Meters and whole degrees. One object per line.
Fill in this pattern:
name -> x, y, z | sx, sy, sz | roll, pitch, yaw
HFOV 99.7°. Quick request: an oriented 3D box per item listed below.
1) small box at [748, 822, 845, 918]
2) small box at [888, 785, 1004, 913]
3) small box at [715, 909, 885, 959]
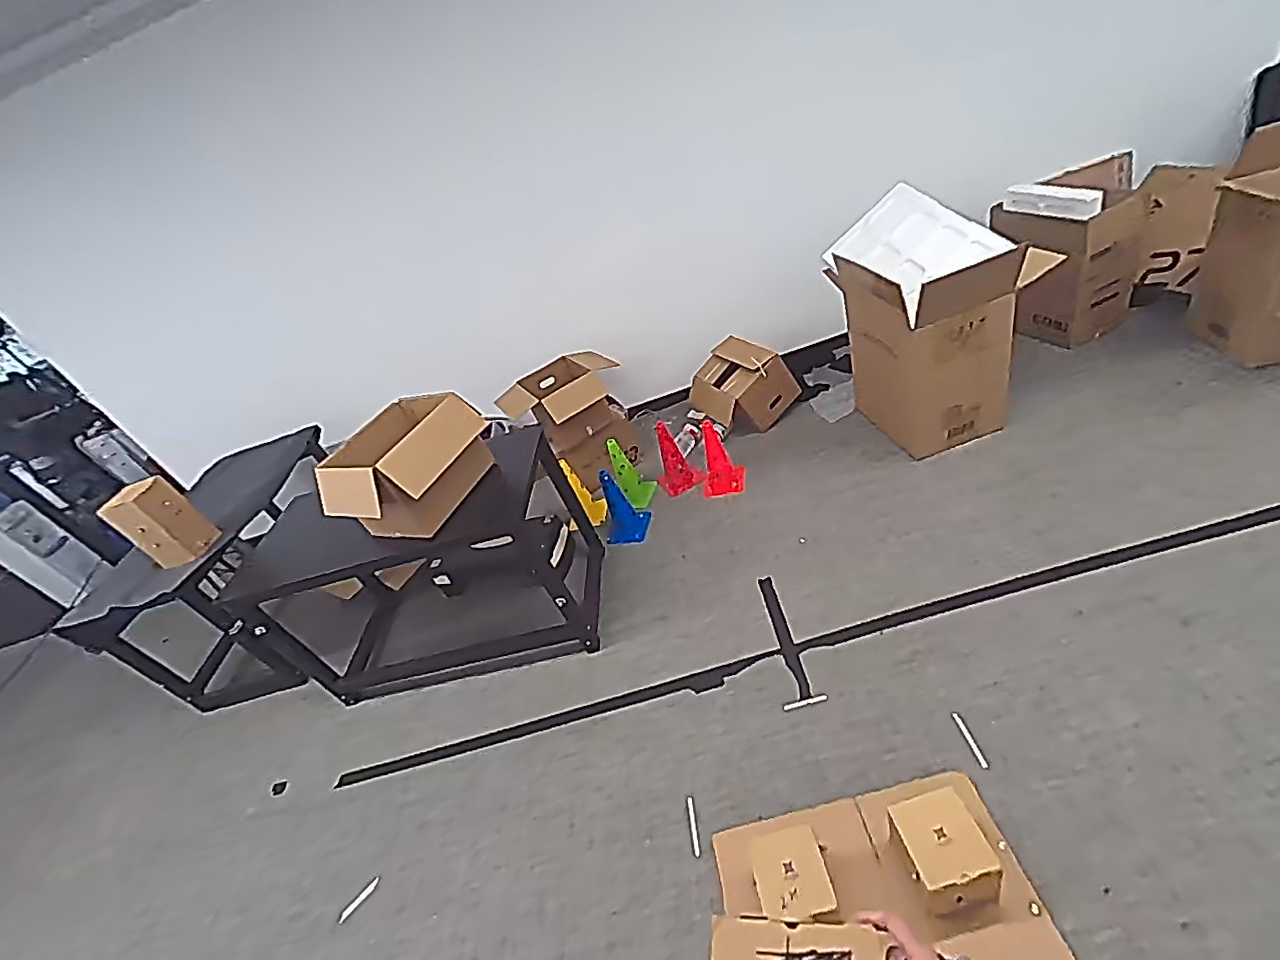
small box -> 0.370, 0.954, 1.281 | 0.168, 0.176, 0.179 | -20, 35, 6
small box -> 0.695, 0.849, 1.246 | 0.168, 0.176, 0.179 | -21, 35, 3
small box -> 0.166, 0.563, 0.537 | 0.168, 0.176, 0.179 | -8, 38, 14
